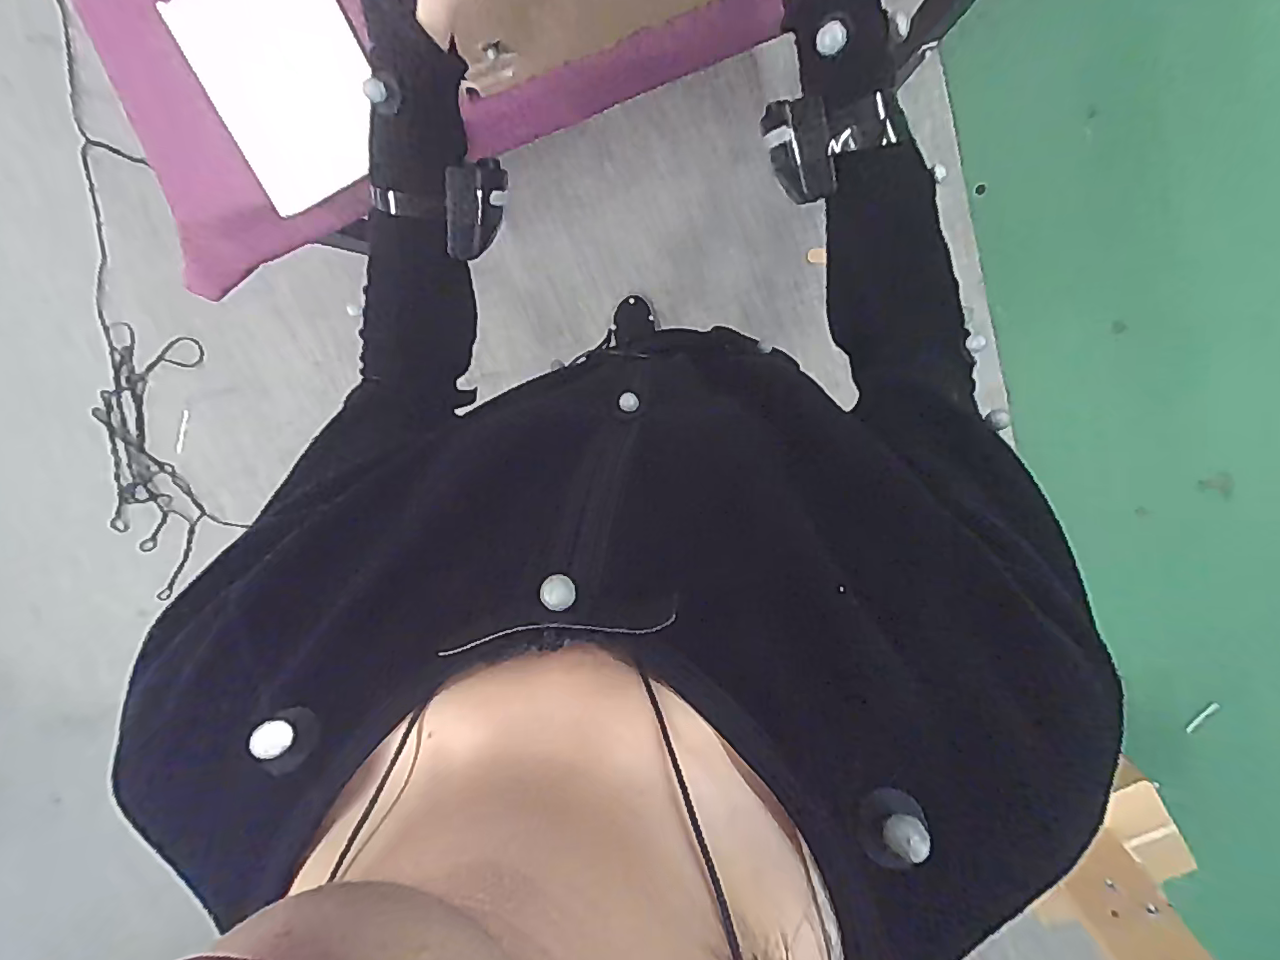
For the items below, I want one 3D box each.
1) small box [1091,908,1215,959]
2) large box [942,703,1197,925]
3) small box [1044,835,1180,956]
[{"bbox_3d":[1.095,1.035,1.121,0.168,0.176,0.179,-27,100,11],"label":"small box"},{"bbox_3d":[1.158,0.912,1.507,0.408,0.320,0.320,-32,101,11],"label":"large box"},{"bbox_3d":[1.116,0.987,1.277,0.179,0.176,0.168,-28,99,12],"label":"small box"}]
